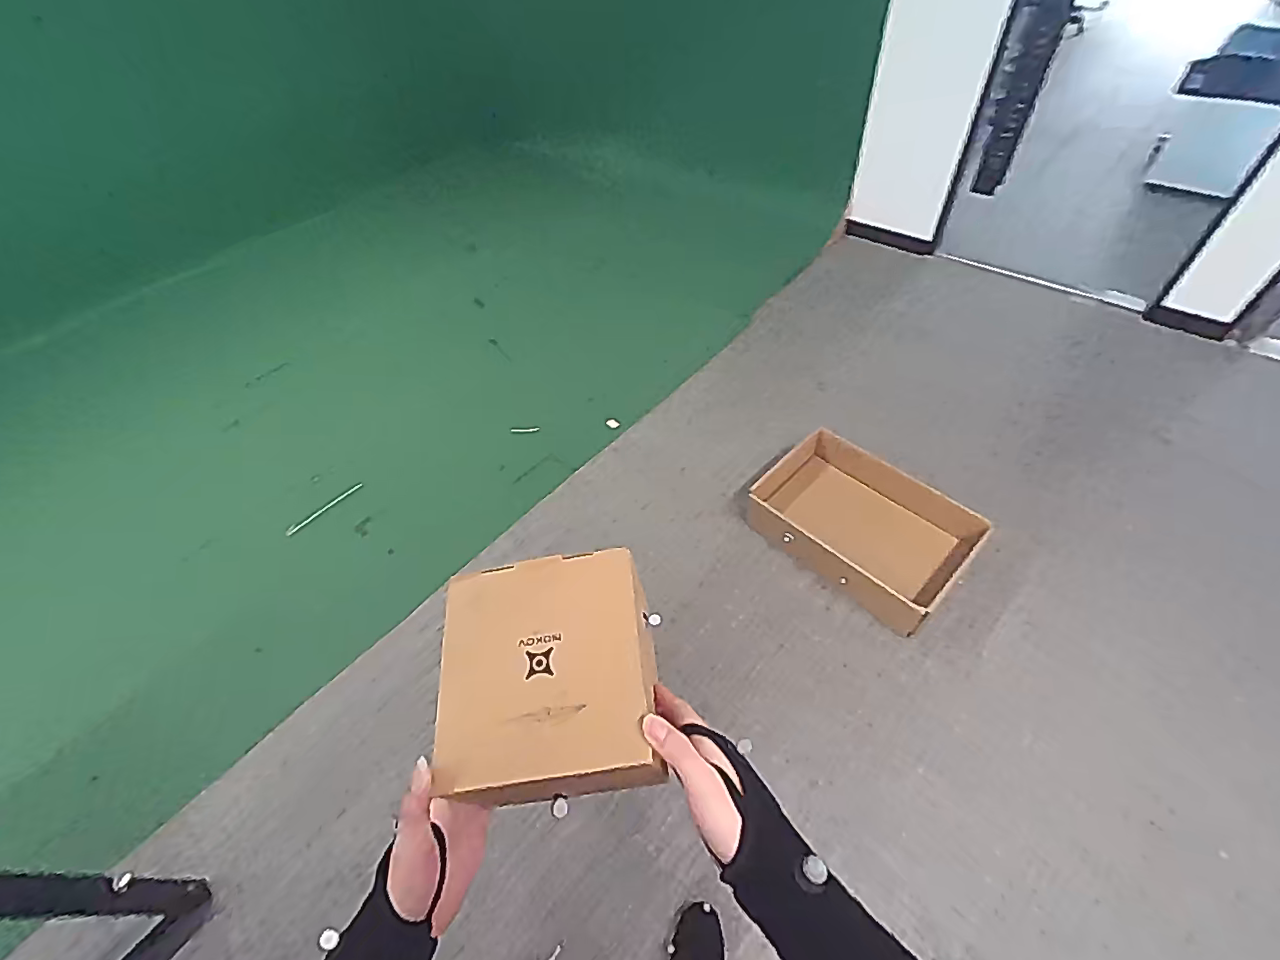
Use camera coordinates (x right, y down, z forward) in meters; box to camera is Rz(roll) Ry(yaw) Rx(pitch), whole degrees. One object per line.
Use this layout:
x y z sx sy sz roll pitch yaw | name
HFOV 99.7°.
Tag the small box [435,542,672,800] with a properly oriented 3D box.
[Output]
-0.065 0.180 0.497 0.168 0.176 0.179 -9 56 3 | small box
